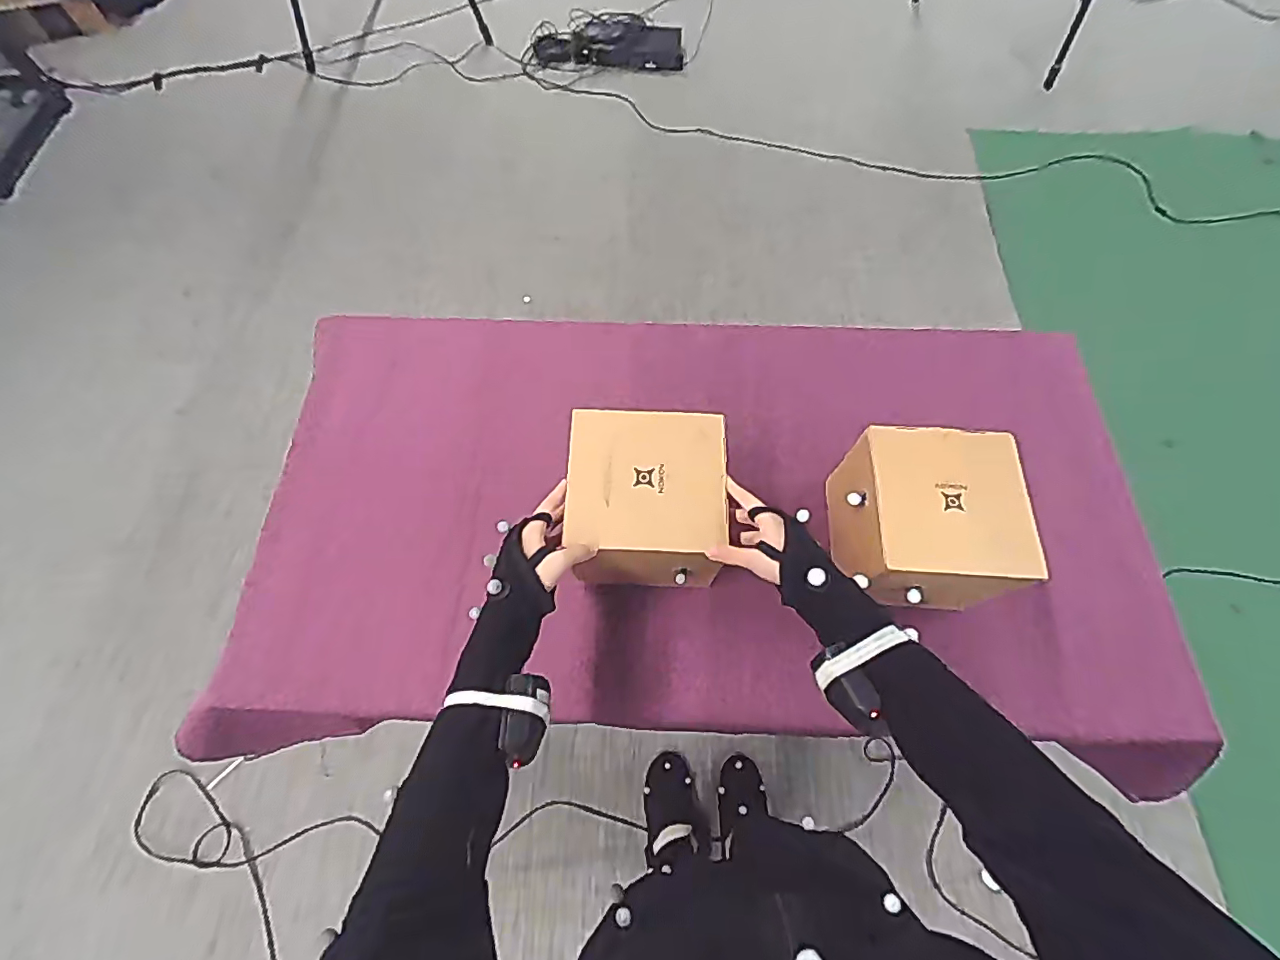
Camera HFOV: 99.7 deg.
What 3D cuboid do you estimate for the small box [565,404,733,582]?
[{"bbox_3d":[0.010,0.024,0.662,0.179,0.176,0.168,2,66,0],"label":"small box"}]

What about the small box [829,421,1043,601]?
[{"bbox_3d":[0.343,0.046,0.668,0.168,0.176,0.179,3,65,2],"label":"small box"}]
